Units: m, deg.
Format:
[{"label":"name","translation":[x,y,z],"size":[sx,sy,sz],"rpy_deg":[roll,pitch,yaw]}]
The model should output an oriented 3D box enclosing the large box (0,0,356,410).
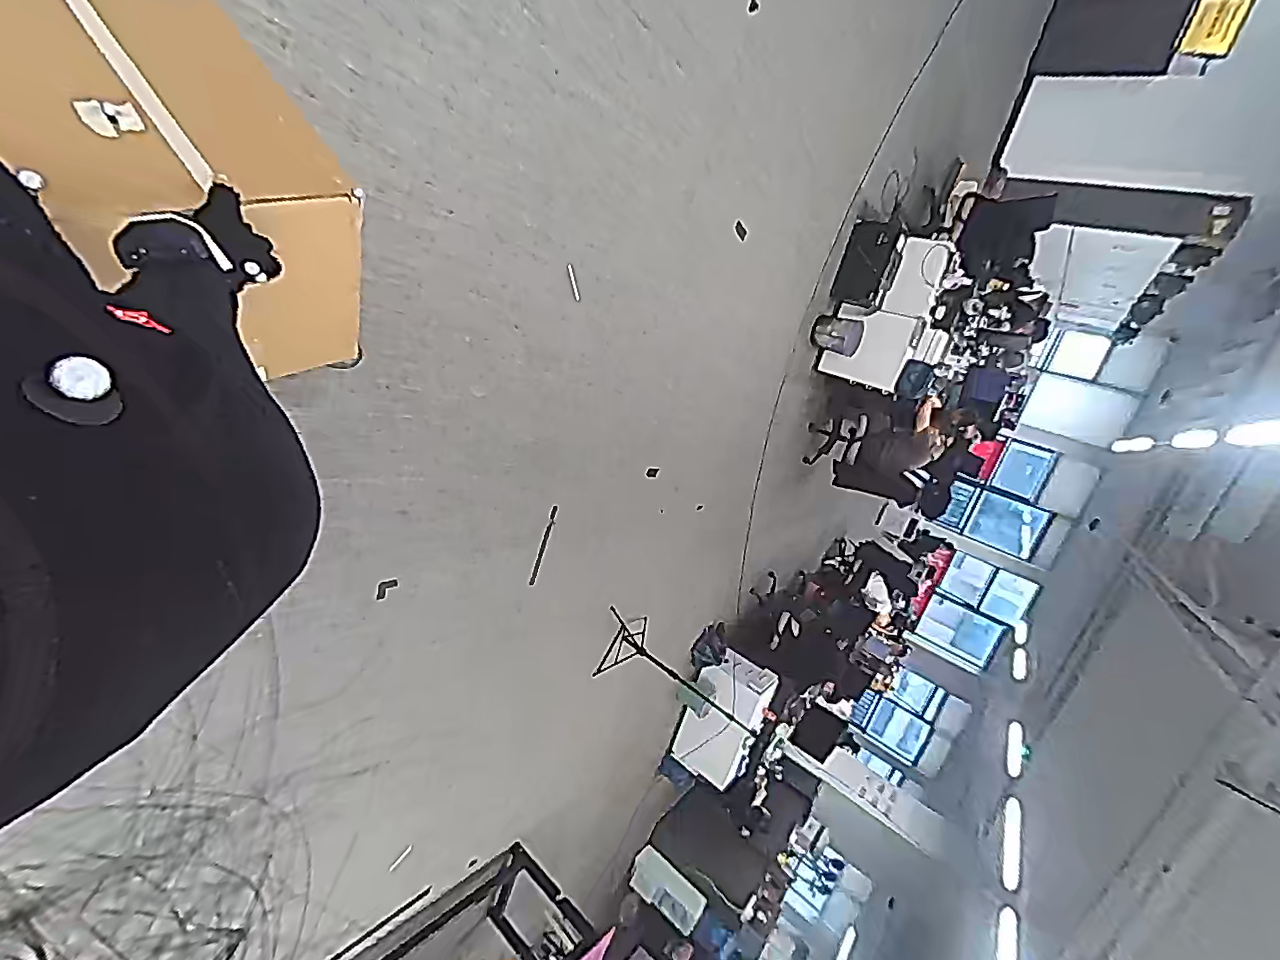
[{"label":"large box","translation":[-0.650,-0.375,0.732],"size":[0.320,0.408,0.320],"rpy_deg":[-33,171,-38]}]
